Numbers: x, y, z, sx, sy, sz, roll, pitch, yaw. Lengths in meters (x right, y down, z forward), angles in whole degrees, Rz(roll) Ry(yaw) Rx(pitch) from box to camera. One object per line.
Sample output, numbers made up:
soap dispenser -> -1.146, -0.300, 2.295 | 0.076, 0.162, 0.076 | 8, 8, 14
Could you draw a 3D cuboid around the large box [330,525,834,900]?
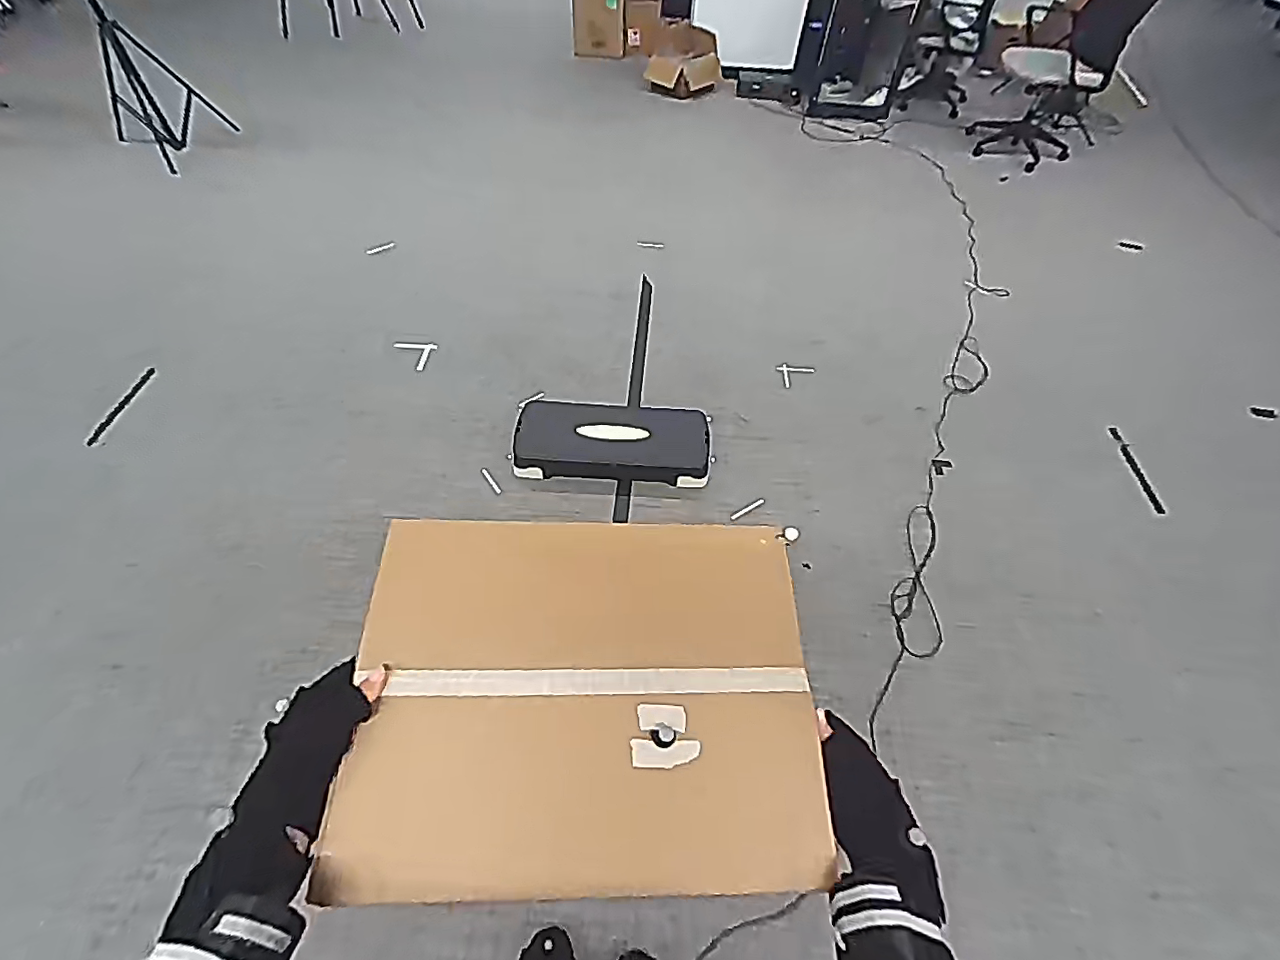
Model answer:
large box -> -0.055, 0.257, 0.623 | 0.408, 0.320, 0.320 | 2, 61, -5
